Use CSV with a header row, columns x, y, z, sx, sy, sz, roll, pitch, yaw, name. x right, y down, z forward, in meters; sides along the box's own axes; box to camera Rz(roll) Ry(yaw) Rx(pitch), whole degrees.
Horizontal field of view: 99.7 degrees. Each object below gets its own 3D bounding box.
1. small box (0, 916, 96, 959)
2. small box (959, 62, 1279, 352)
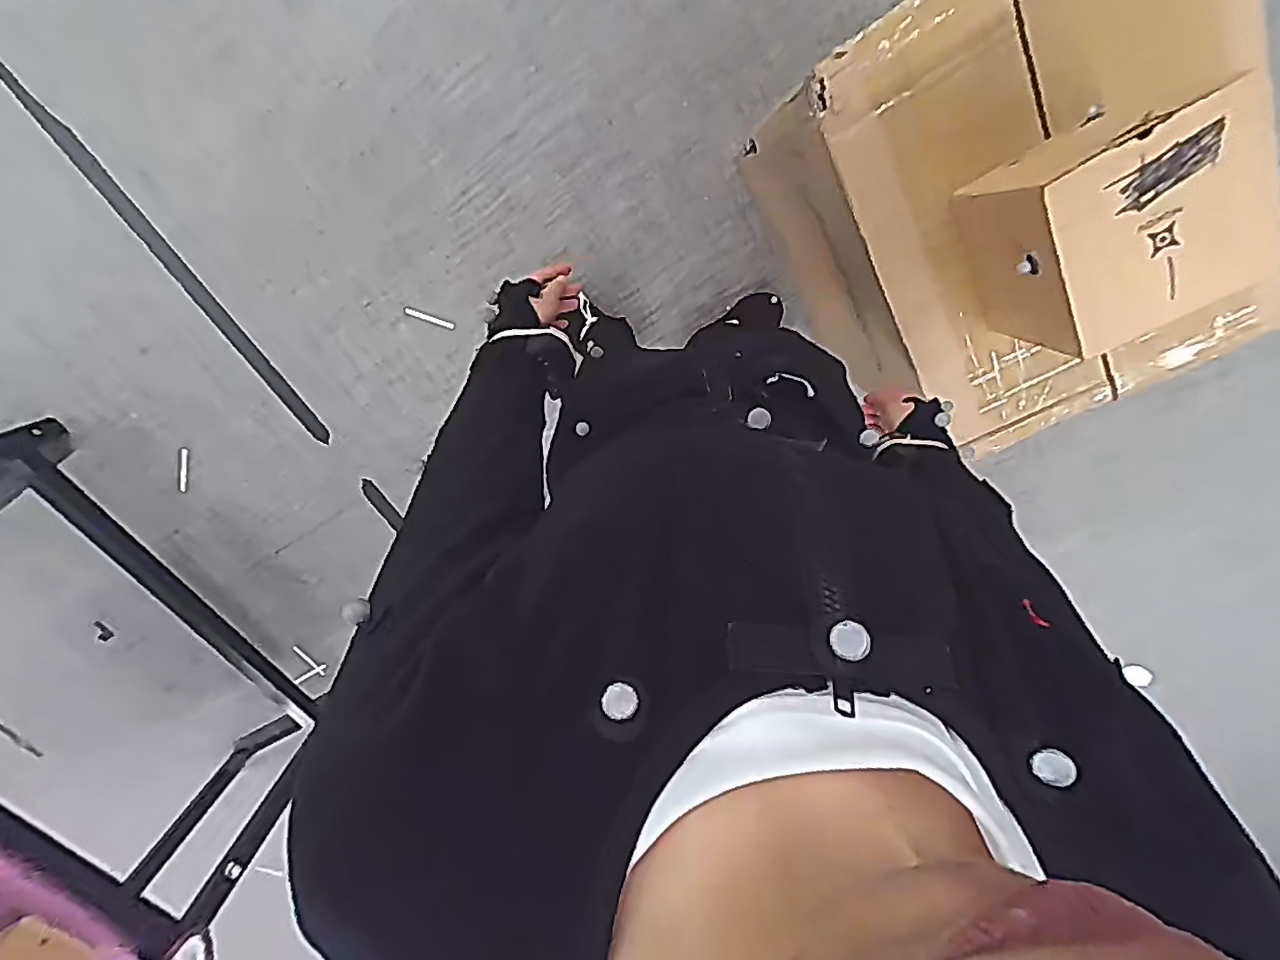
x,y,z,sx,sy,sz,roll,pitch,yaw,name
-1.268,1.021,1.083,0.179,0.176,0.168,-34,108,17,small box
0.456,-0.256,0.540,0.168,0.176,0.179,-27,111,15,small box
